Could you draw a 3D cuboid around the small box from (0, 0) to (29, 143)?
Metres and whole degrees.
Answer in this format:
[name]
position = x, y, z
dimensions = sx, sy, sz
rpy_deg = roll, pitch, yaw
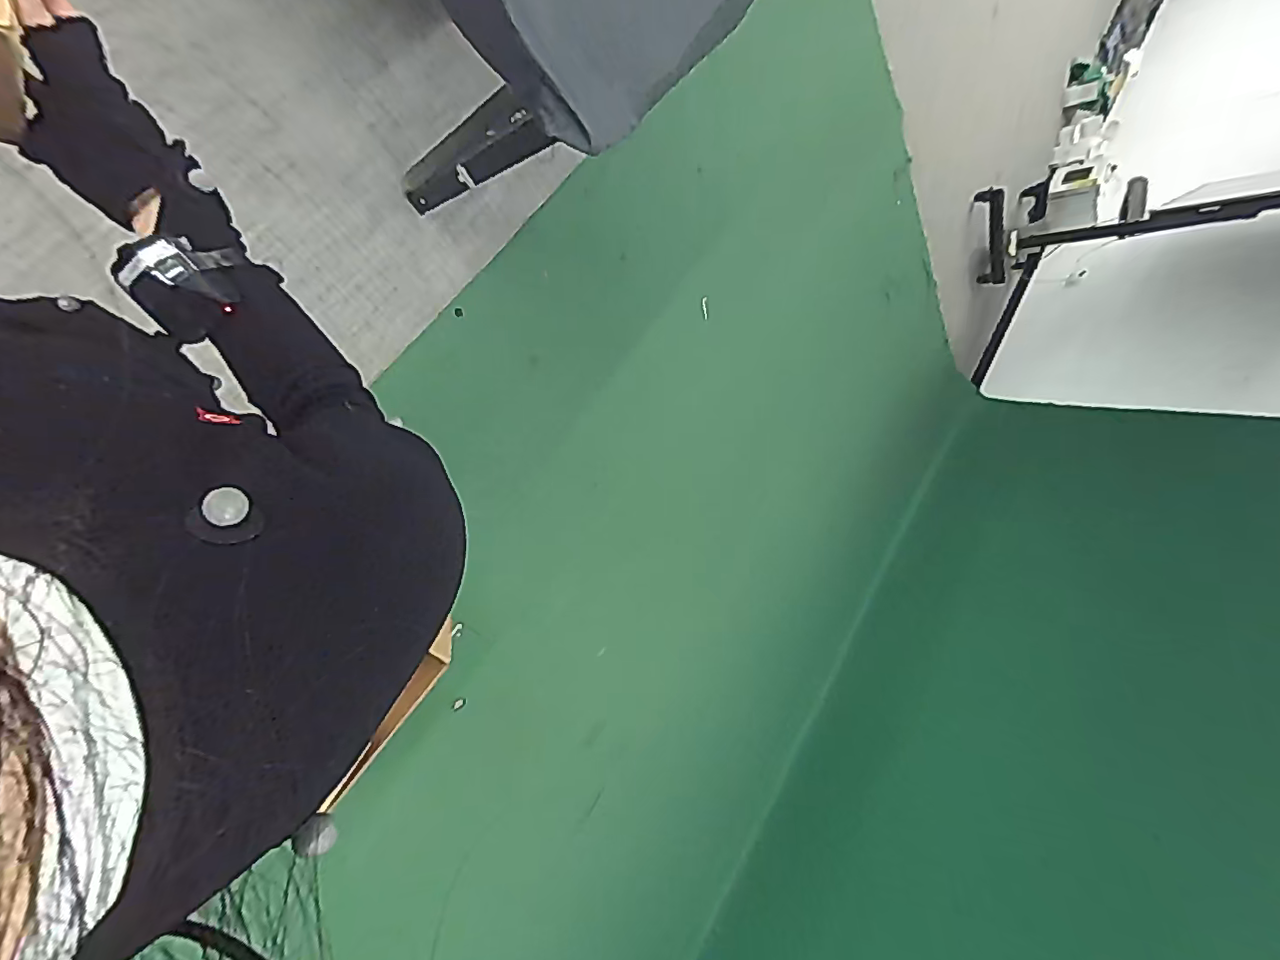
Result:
[small box]
position = -0.463, -0.328, 0.292
dimensions = 0.168, 0.176, 0.179
rpy_deg = -6, 98, -47
